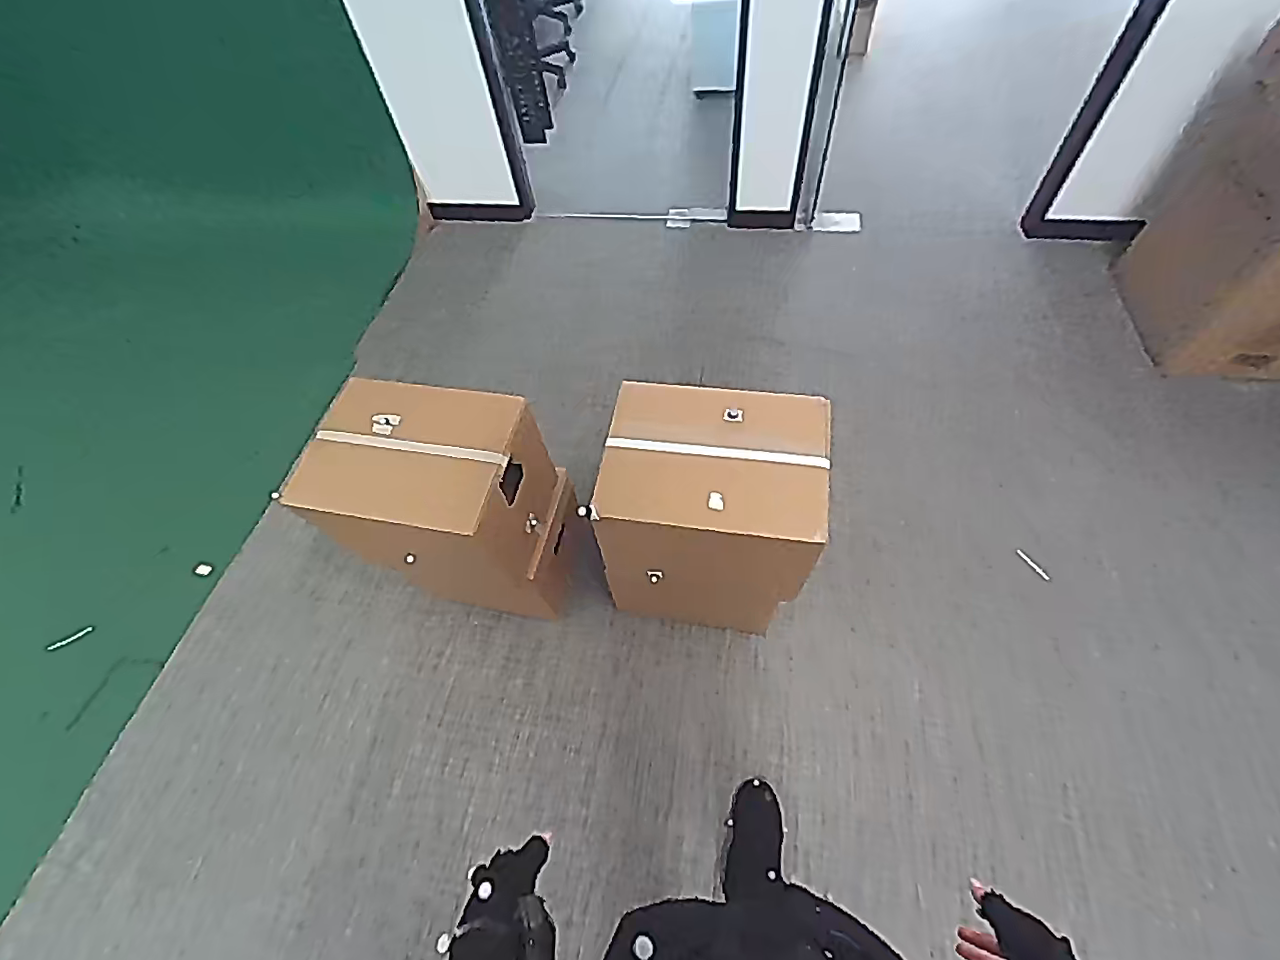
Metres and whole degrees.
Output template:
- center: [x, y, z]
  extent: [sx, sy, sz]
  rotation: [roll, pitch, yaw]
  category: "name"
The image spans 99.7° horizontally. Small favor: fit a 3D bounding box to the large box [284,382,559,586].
- center: [-0.434, 0.015, 1.181]
  extent: [0.408, 0.320, 0.320]
  rotation: [8, 61, 12]
  category: "large box"
